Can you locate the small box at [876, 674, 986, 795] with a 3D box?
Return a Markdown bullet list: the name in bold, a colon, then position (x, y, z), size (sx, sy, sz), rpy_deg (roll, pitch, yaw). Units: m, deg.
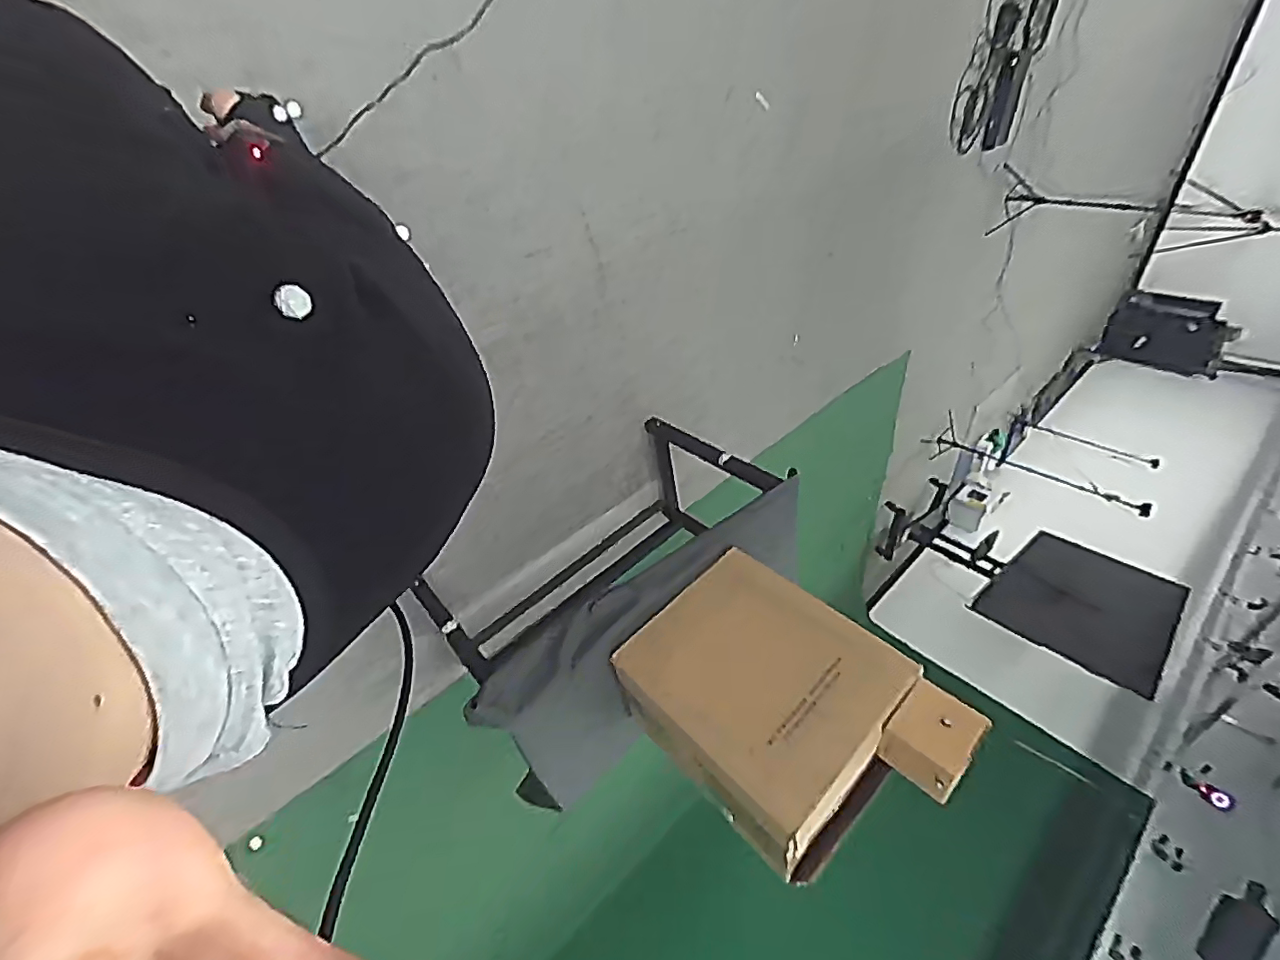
- **small box**: position (0.707, 0.615, 1.326), size (0.179, 0.176, 0.168), rpy_deg (-38, 135, -26)
